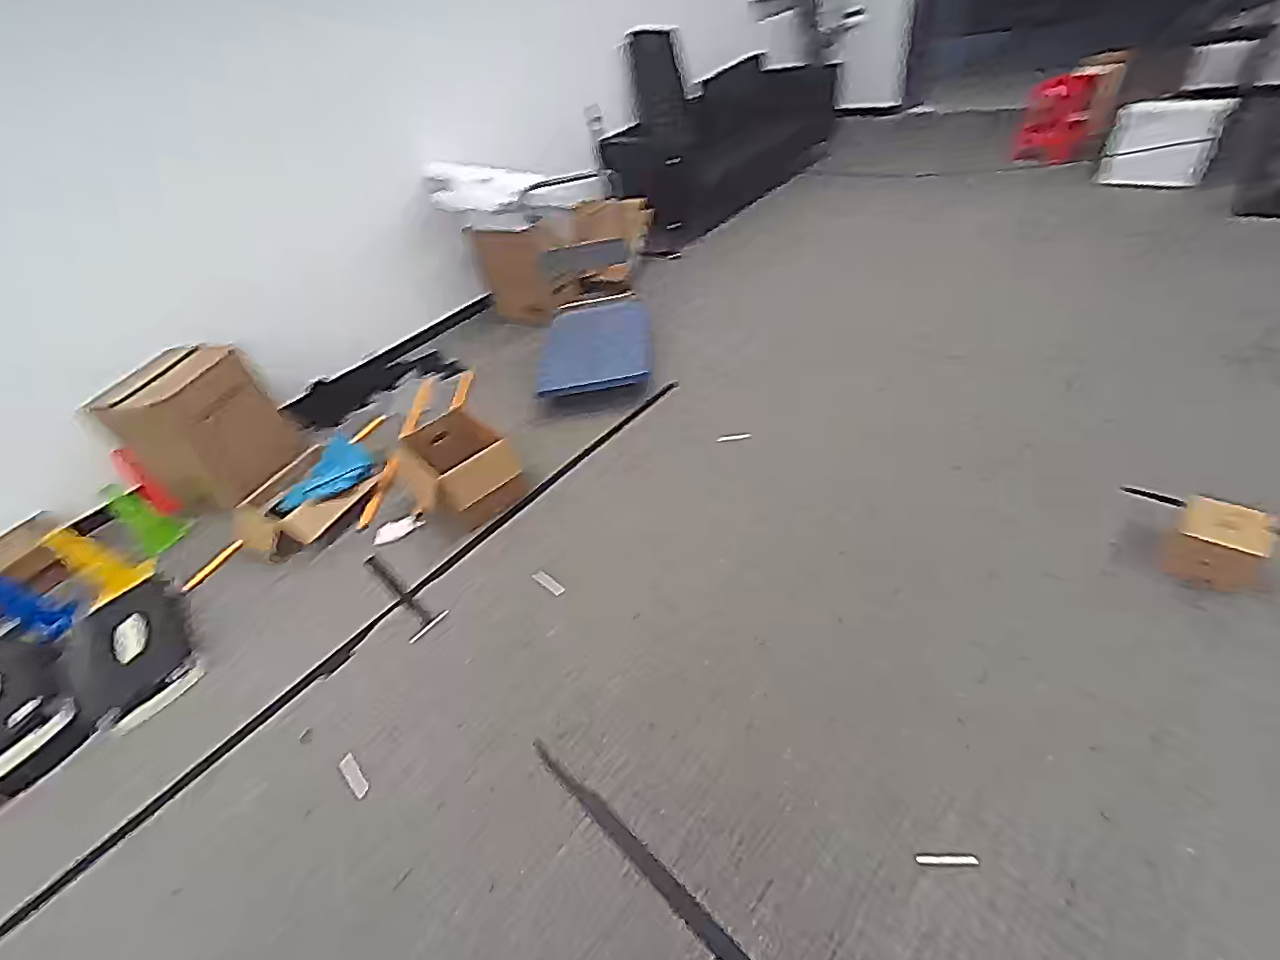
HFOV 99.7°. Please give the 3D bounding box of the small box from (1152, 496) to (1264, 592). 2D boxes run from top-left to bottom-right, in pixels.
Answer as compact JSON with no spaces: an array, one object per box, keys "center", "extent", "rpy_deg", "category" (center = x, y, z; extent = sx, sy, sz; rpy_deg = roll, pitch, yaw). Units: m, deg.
[{"center":[1.590,0.182,1.521],"extent":[0.168,0.176,0.179],"rpy_deg":[24,53,35],"category":"small box"}]
